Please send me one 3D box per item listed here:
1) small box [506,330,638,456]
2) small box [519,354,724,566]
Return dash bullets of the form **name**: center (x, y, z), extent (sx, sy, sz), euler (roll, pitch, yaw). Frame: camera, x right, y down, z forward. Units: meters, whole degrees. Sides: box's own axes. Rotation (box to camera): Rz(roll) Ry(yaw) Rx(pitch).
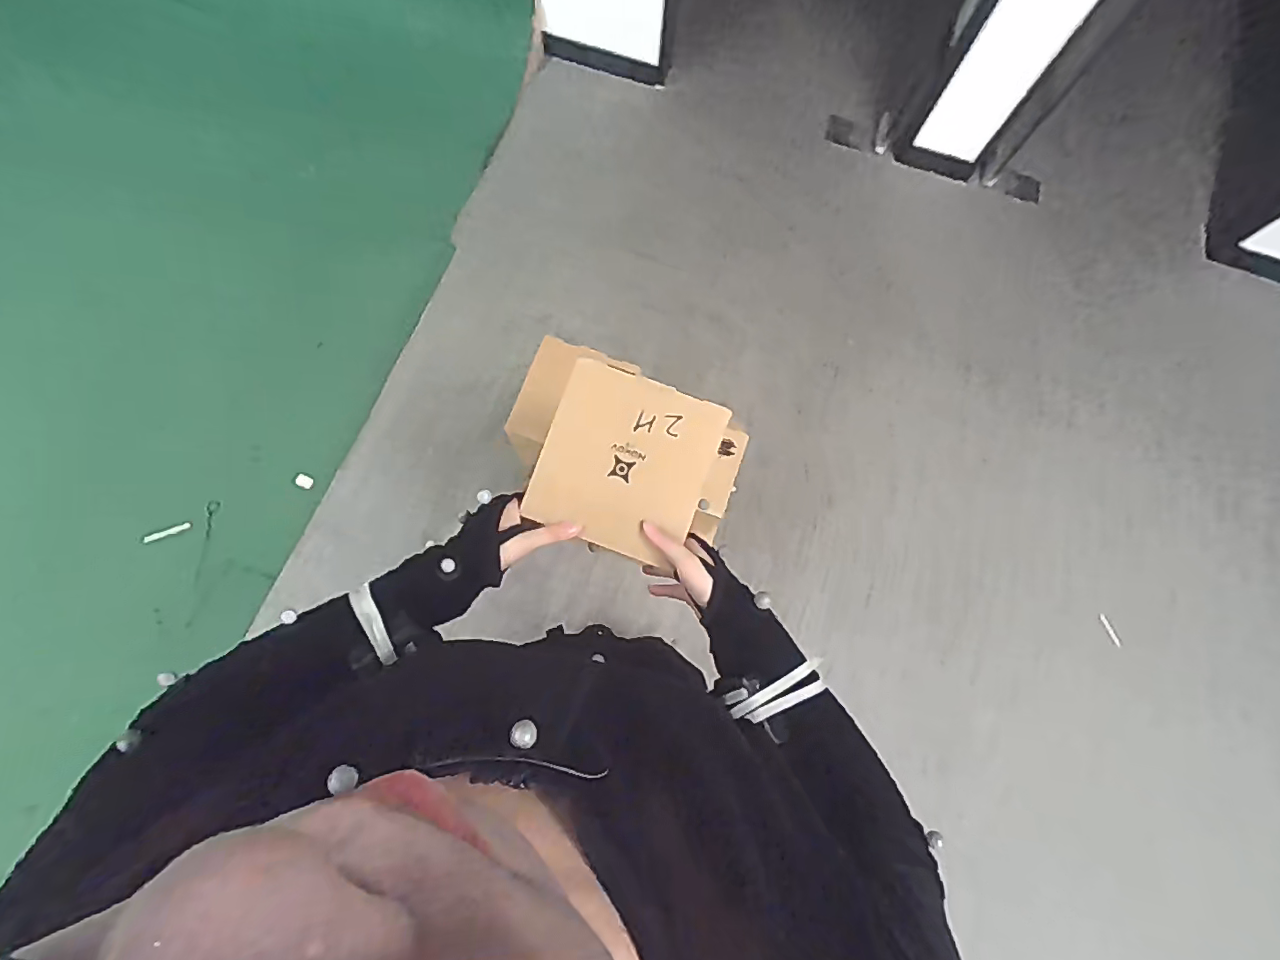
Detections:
- **small box**: center (-0.110, -0.120, 0.932), extent (0.168, 0.176, 0.179), euler (20, 75, 1)
- **small box**: center (-0.017, -0.017, 0.630), extent (0.168, 0.176, 0.179), euler (21, 87, 1)
